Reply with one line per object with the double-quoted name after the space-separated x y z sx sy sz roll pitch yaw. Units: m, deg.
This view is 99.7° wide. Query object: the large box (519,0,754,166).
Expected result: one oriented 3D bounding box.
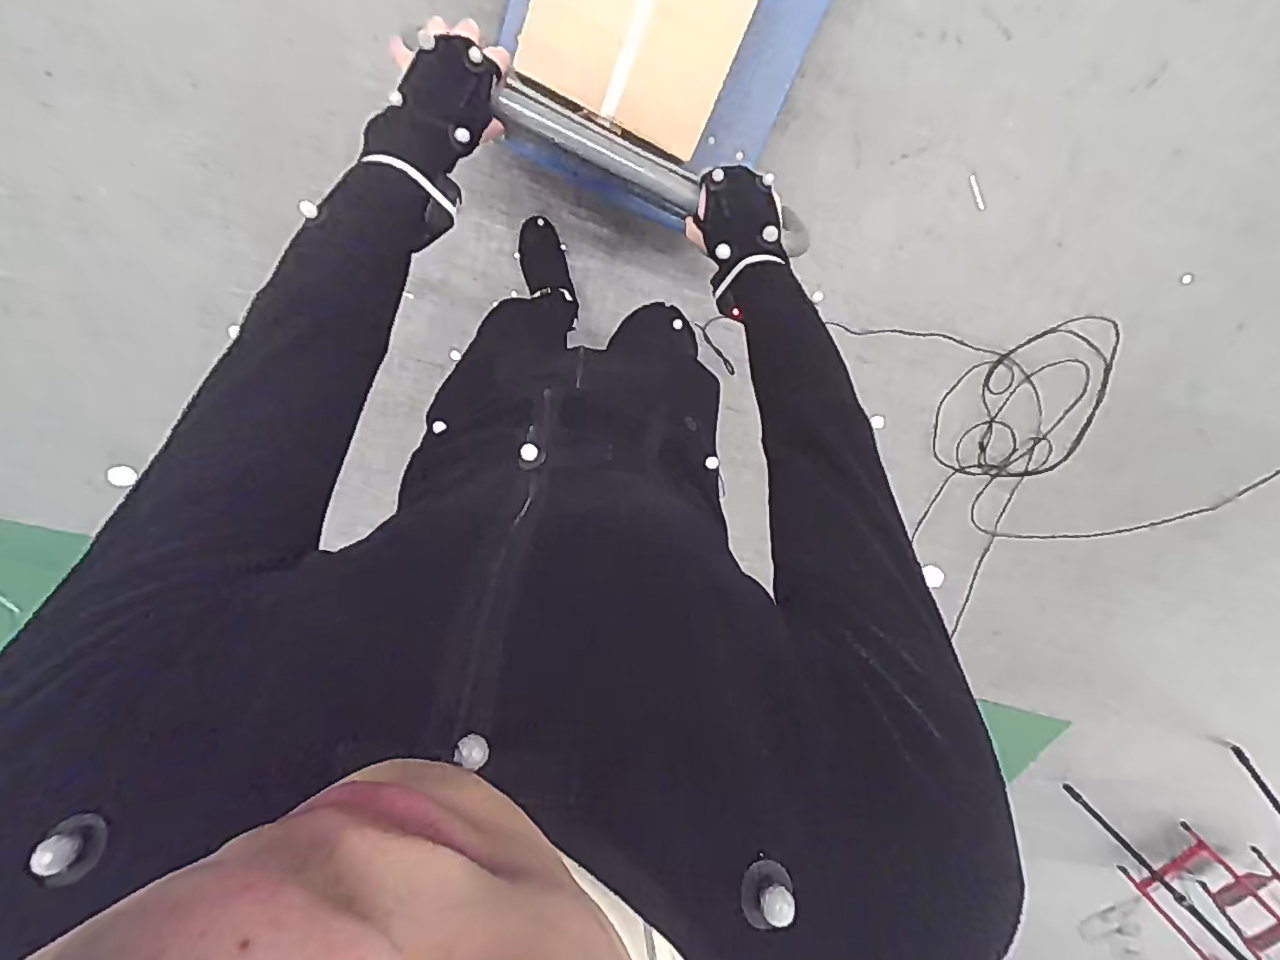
0.014 -0.835 0.944 0.320 0.320 0.408 20 113 -14 "large box"
